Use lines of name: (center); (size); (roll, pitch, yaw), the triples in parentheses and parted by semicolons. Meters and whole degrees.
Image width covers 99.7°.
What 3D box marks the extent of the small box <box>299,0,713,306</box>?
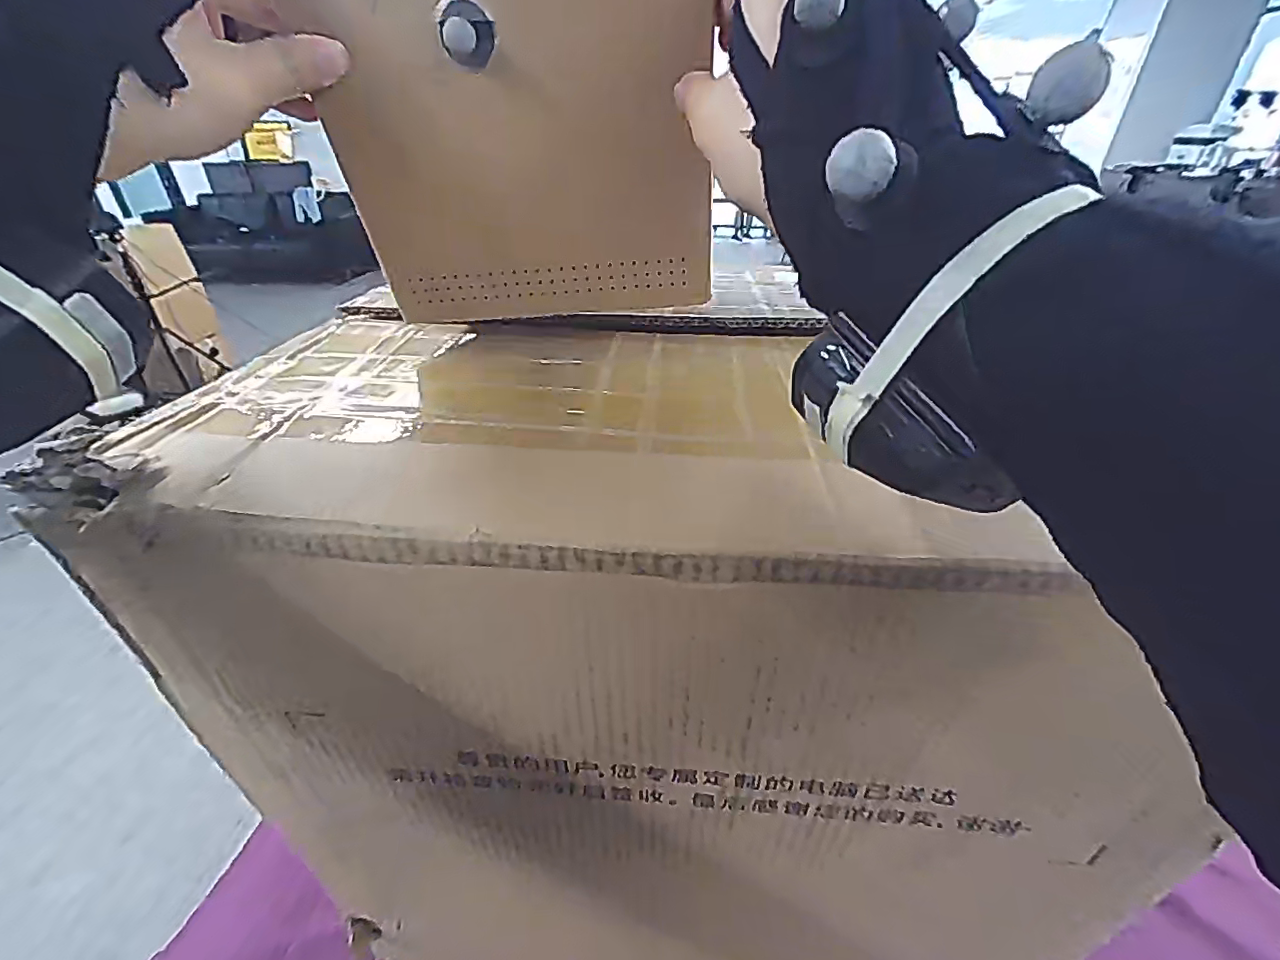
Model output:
small box: (-0.051, -0.209, 0.302); (0.179, 0.176, 0.168); (-2, 44, 4)
